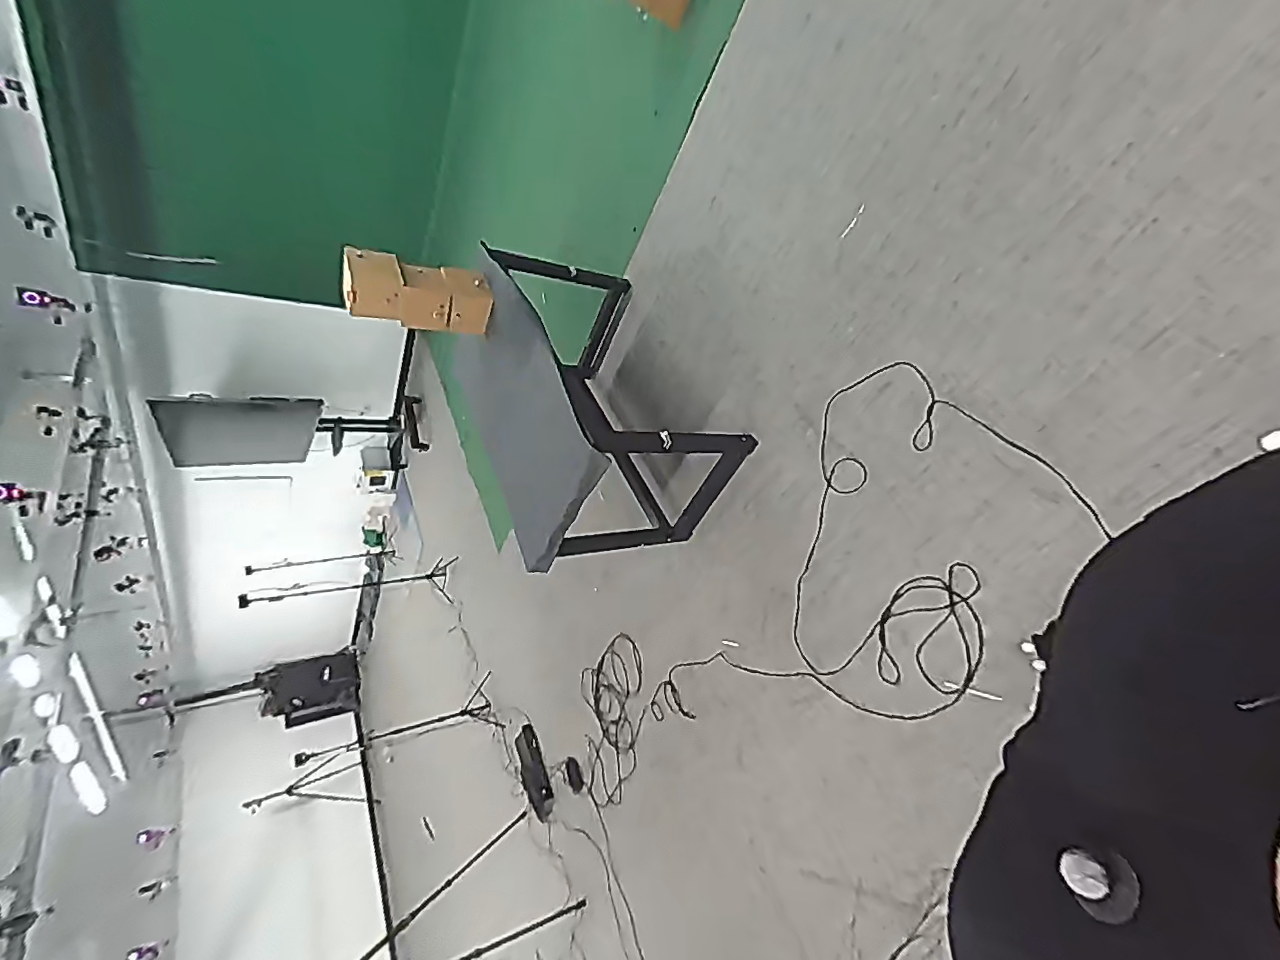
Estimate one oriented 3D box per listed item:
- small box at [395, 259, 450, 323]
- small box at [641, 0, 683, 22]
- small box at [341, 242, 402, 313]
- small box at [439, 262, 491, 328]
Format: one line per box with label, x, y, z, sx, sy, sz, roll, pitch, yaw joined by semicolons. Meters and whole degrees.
small box;-0.826;-0.701;2.025;0.179;0.176;0.168;56;137;33
small box;0.089;-2.039;2.211;0.179;0.176;0.168;-55;51;40
small box;-0.958;-0.714;1.924;0.179;0.176;0.168;61;140;30
small box;-0.698;-0.720;2.124;0.179;0.176;0.168;-55;51;42
